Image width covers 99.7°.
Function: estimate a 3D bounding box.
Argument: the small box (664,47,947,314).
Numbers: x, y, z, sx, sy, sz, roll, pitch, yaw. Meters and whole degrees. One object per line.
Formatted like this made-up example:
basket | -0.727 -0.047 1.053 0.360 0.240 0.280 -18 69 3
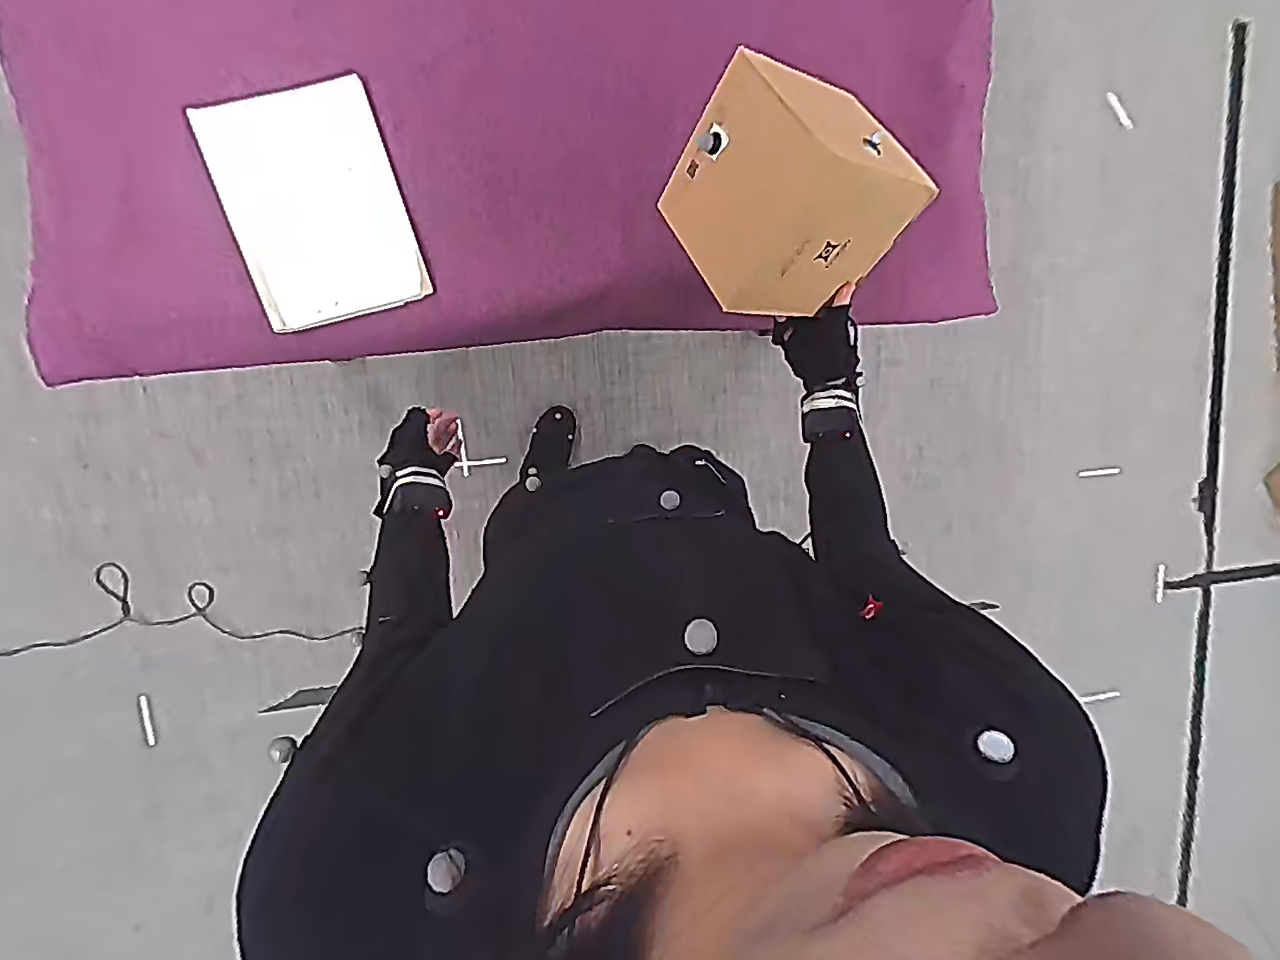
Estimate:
small box | 0.156 -0.292 0.551 0.179 0.168 0.176 -10 62 -34
